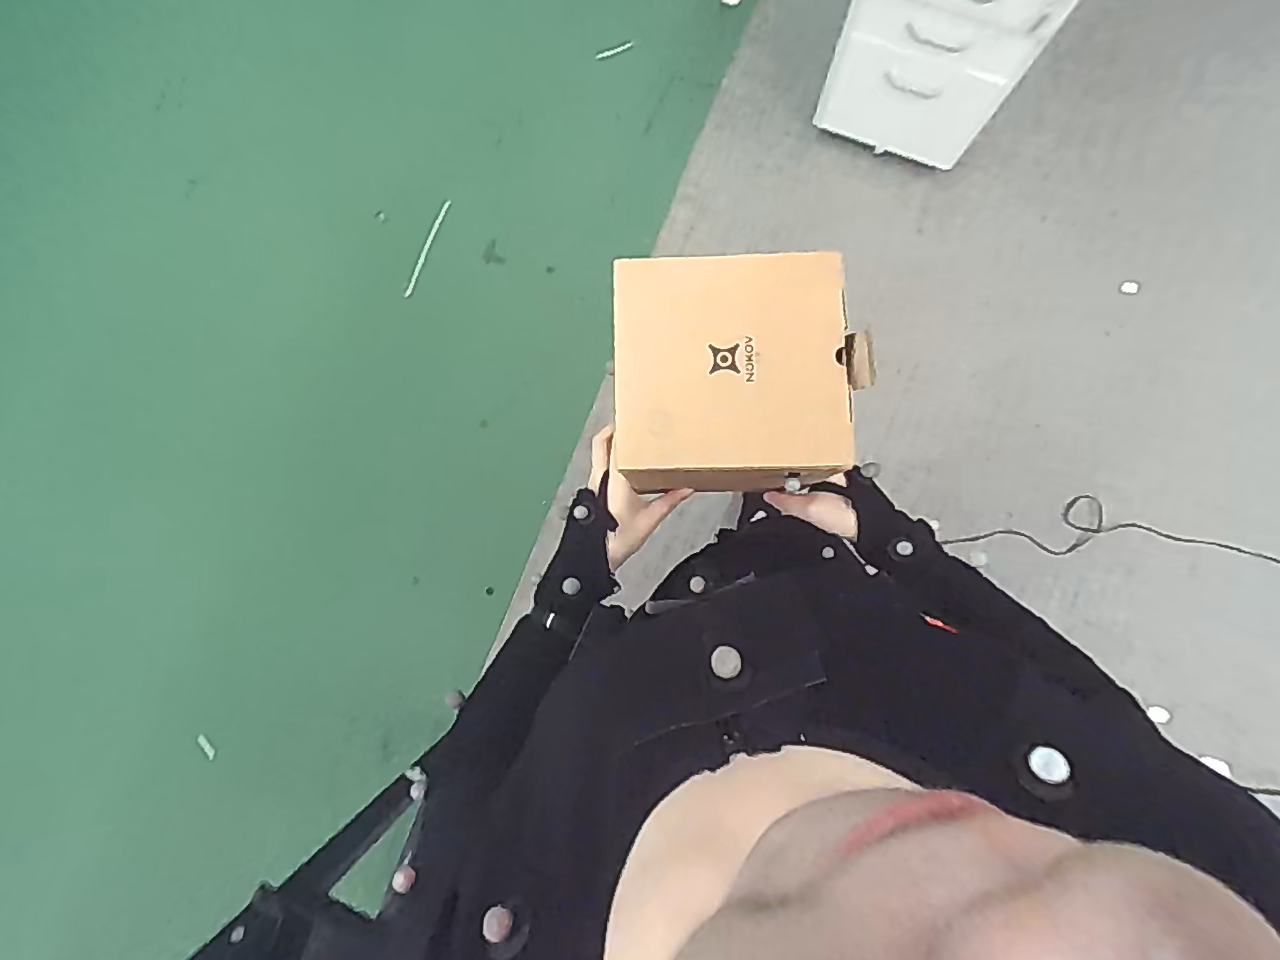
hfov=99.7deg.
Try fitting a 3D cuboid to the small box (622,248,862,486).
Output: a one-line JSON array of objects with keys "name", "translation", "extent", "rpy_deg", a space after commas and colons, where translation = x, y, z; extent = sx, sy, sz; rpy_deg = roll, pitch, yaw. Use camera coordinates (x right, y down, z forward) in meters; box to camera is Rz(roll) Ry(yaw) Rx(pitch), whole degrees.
[{"name": "small box", "translation": [0.078, -0.085, 0.484], "extent": [0.179, 0.176, 0.168], "rpy_deg": [-1, 83, 2]}]
